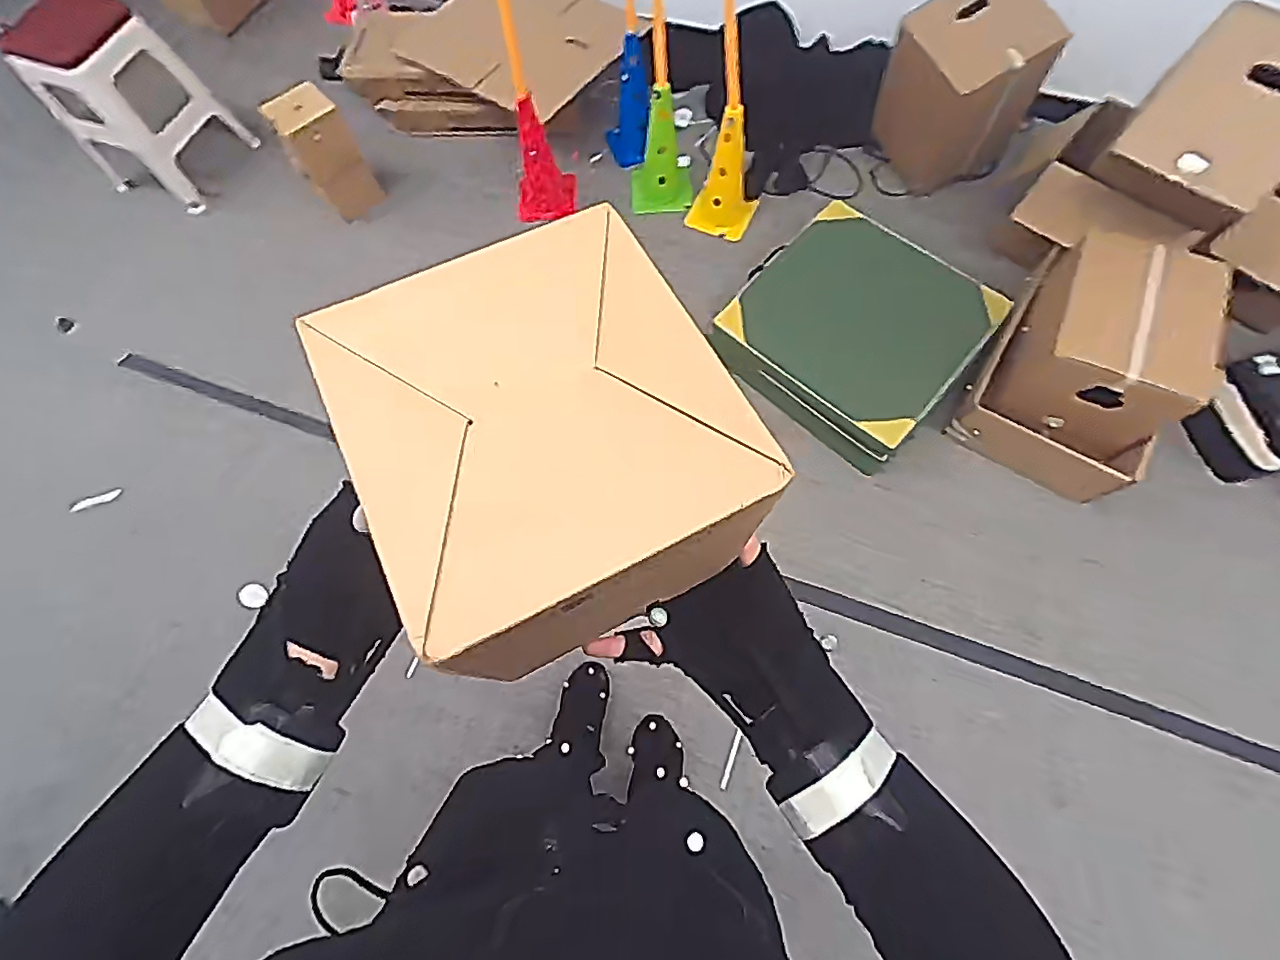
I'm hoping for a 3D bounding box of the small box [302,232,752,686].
[{"bbox_3d":[-0.056,-0.003,0.309,0.168,0.176,0.179,-24,71,-10],"label":"small box"}]
